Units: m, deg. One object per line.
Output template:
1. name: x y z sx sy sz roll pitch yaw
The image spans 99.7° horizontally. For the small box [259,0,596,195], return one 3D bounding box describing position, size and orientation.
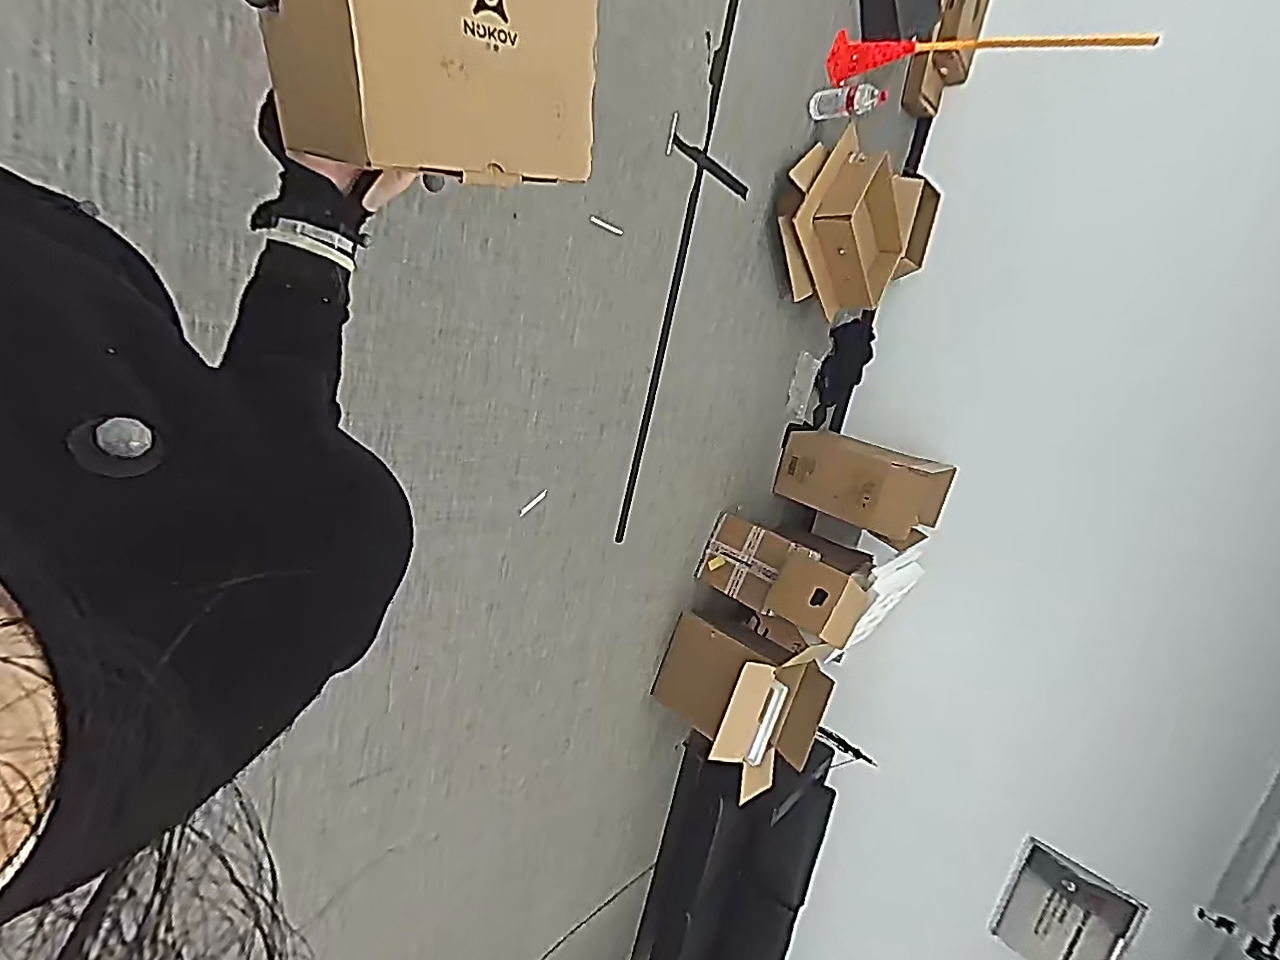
1. small box: -0.149 -0.313 0.378 0.168 0.176 0.179 -22 132 -39
